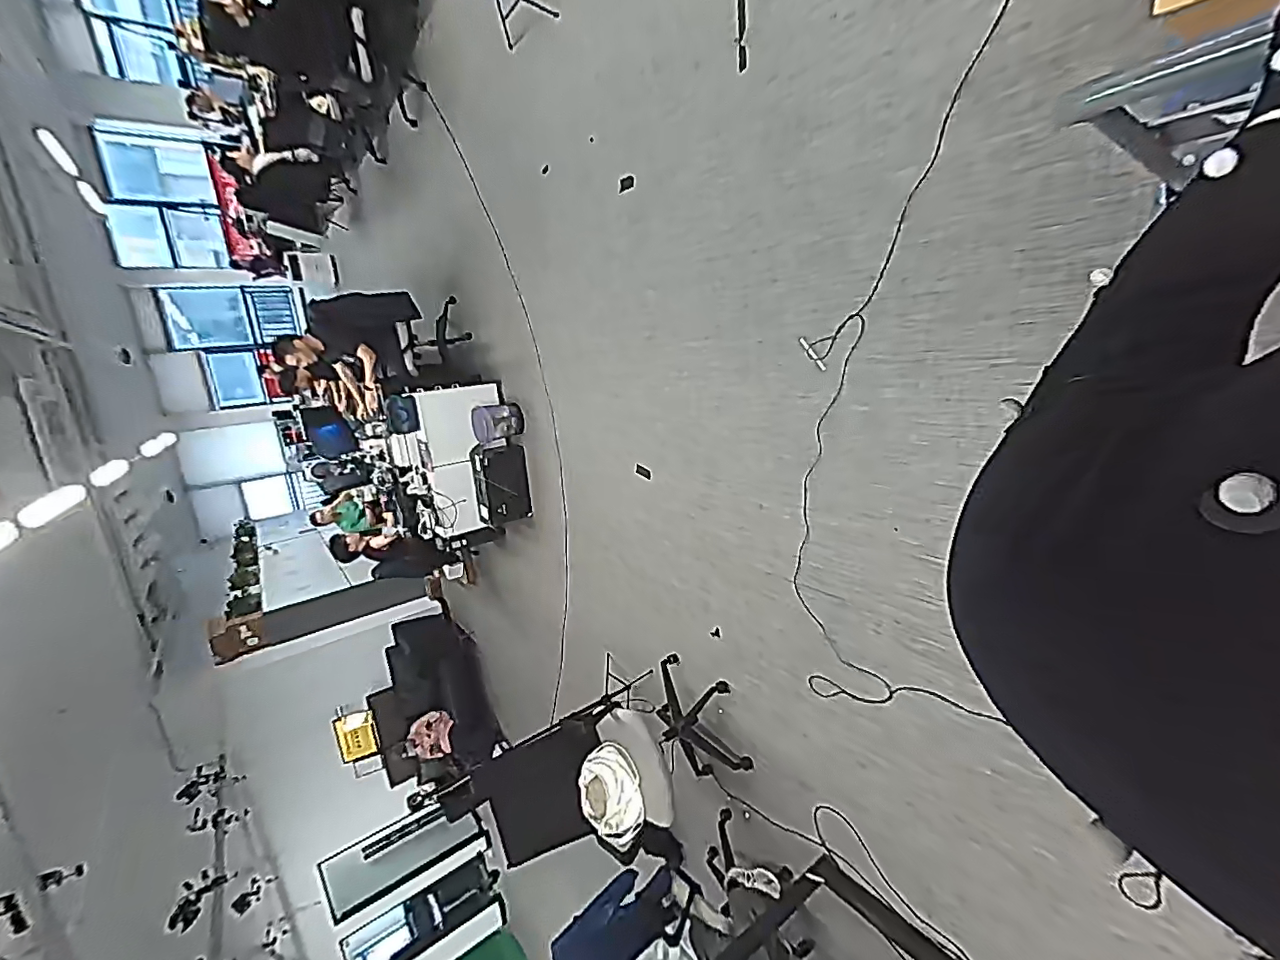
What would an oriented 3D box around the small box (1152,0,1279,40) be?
[{"bbox_3d":[0.854,-0.752,0.743,0.179,0.176,0.168,14,114,50],"label":"small box"}]
